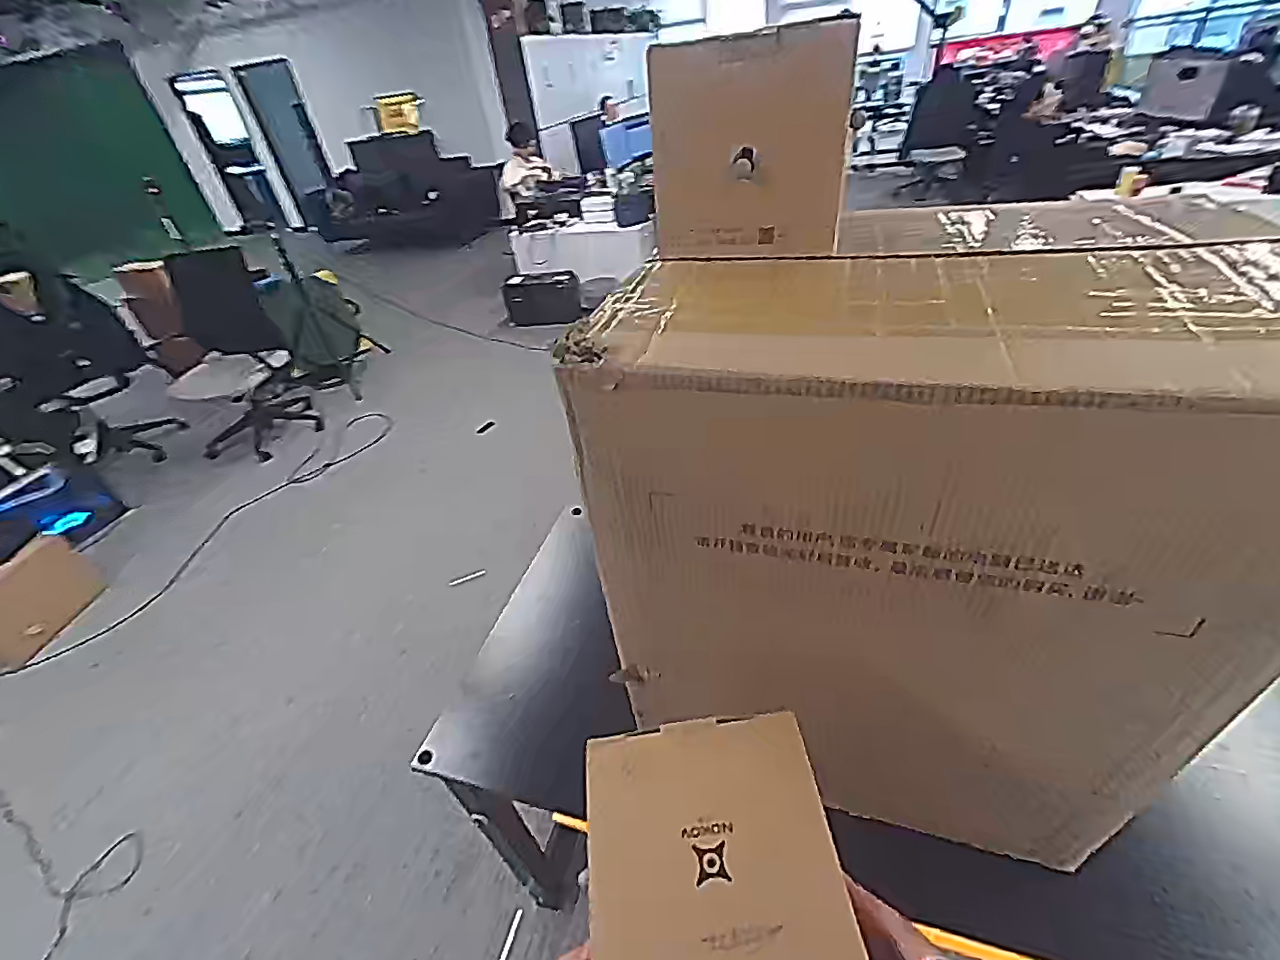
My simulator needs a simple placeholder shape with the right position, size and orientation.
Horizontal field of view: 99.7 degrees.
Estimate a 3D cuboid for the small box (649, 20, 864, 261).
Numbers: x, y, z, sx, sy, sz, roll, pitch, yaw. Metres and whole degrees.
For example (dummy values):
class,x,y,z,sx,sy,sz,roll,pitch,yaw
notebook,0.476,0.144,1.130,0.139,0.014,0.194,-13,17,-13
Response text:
class,x,y,z,sx,sy,sz,roll,pitch,yaw
small box,0.117,-0.317,0.519,0.168,0.176,0.179,7,38,17
